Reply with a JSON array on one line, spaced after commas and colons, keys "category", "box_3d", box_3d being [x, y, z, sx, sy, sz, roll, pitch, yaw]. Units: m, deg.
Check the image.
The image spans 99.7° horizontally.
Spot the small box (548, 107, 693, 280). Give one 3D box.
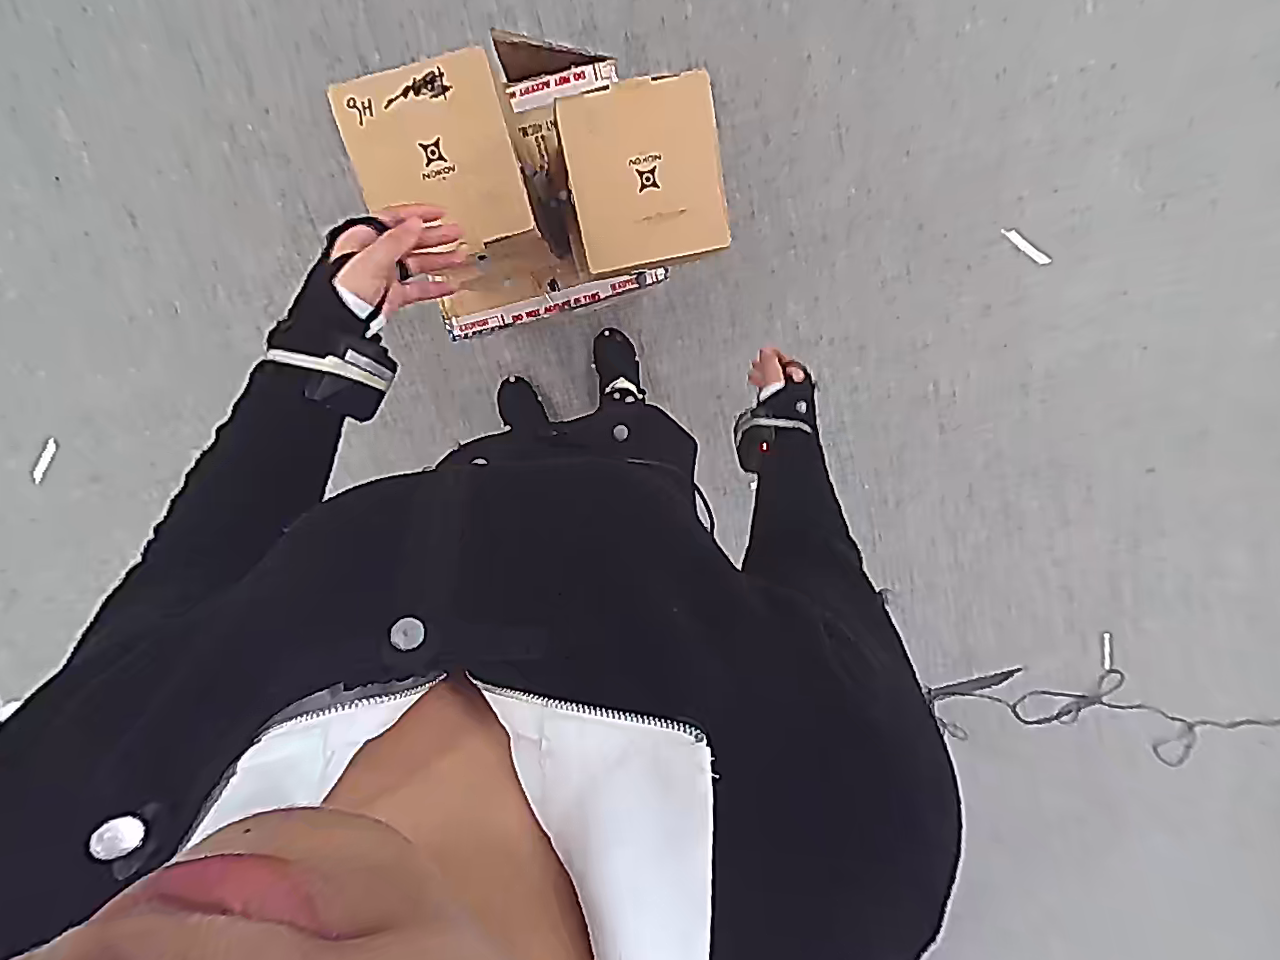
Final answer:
[{"category": "small box", "box_3d": [-0.032, -0.411, 0.807, 0.168, 0.176, 0.179, -15, 108, -1]}]

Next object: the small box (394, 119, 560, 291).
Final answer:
[{"category": "small box", "box_3d": [-0.225, -0.389, 0.798, 0.168, 0.176, 0.179, -17, 109, 2]}]
